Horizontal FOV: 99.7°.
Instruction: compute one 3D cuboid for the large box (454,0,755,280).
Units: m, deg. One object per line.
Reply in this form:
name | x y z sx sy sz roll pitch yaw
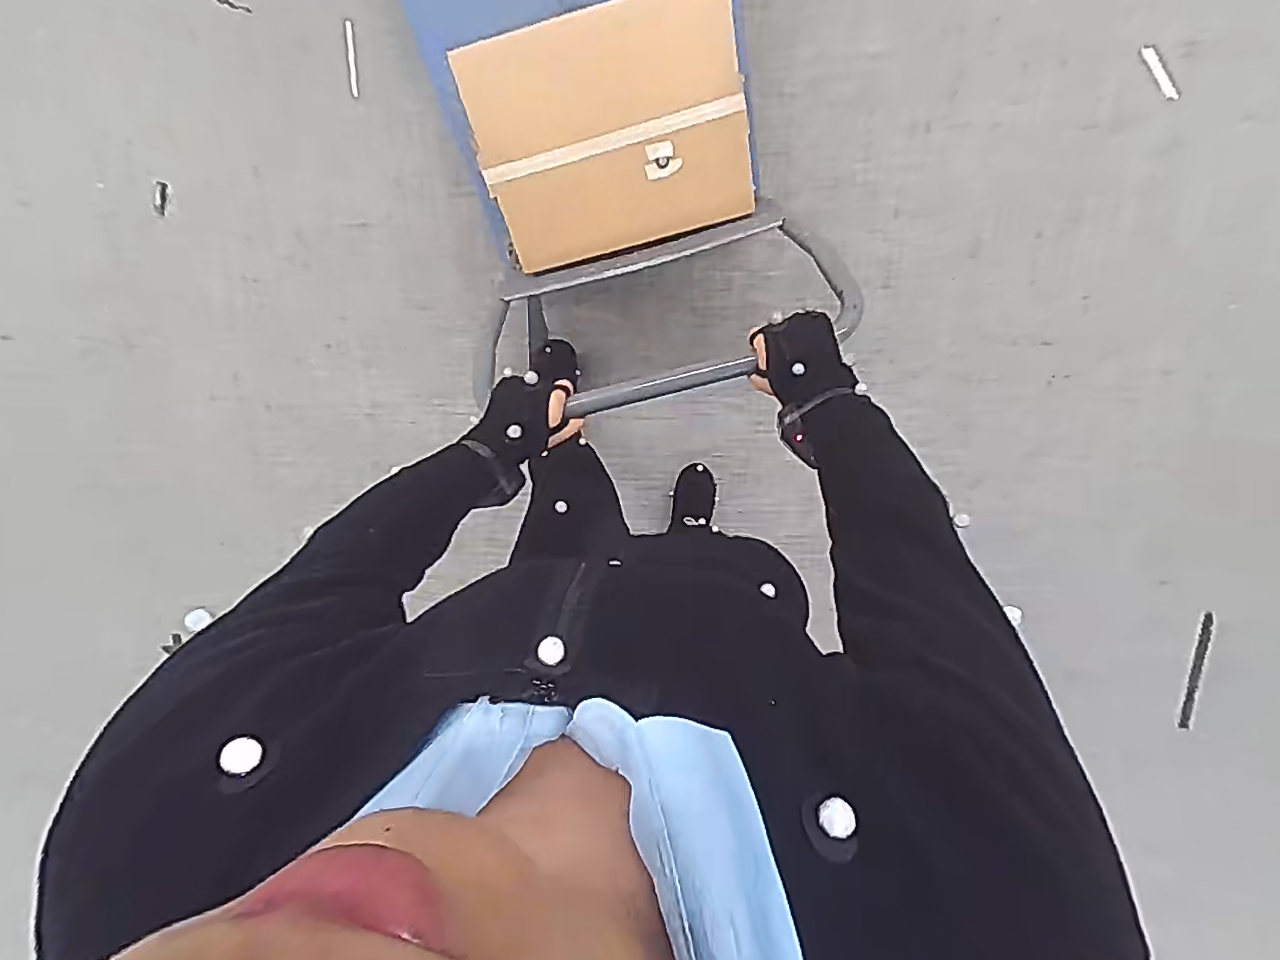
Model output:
large box | -0.049 -0.594 0.953 0.408 0.320 0.320 -14 124 4
